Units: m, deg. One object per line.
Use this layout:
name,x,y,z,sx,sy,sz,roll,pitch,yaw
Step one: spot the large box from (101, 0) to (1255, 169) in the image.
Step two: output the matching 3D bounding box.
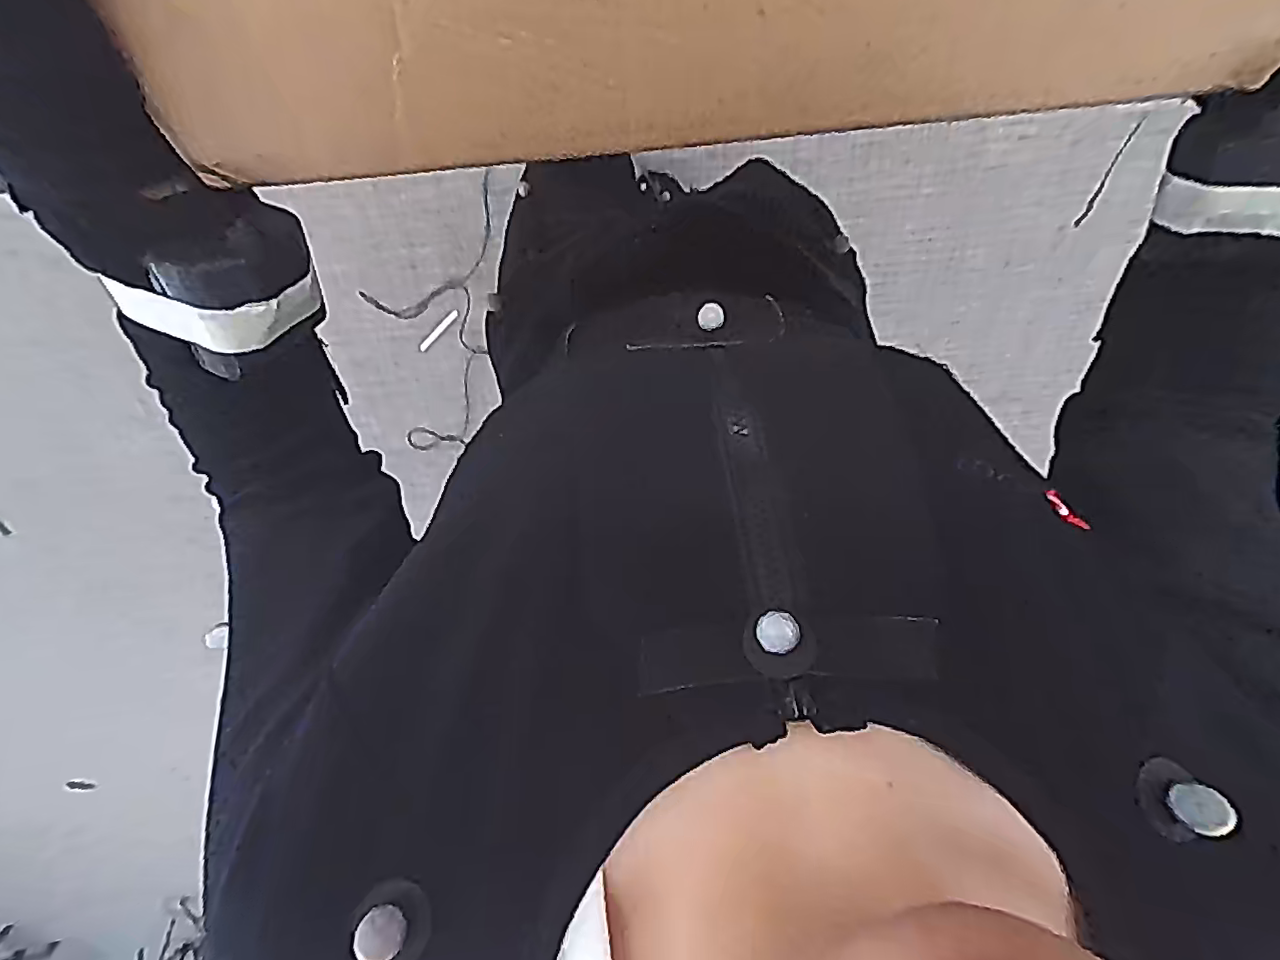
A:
large box,0.010,-0.351,0.164,0.408,0.320,0.320,-6,147,0
